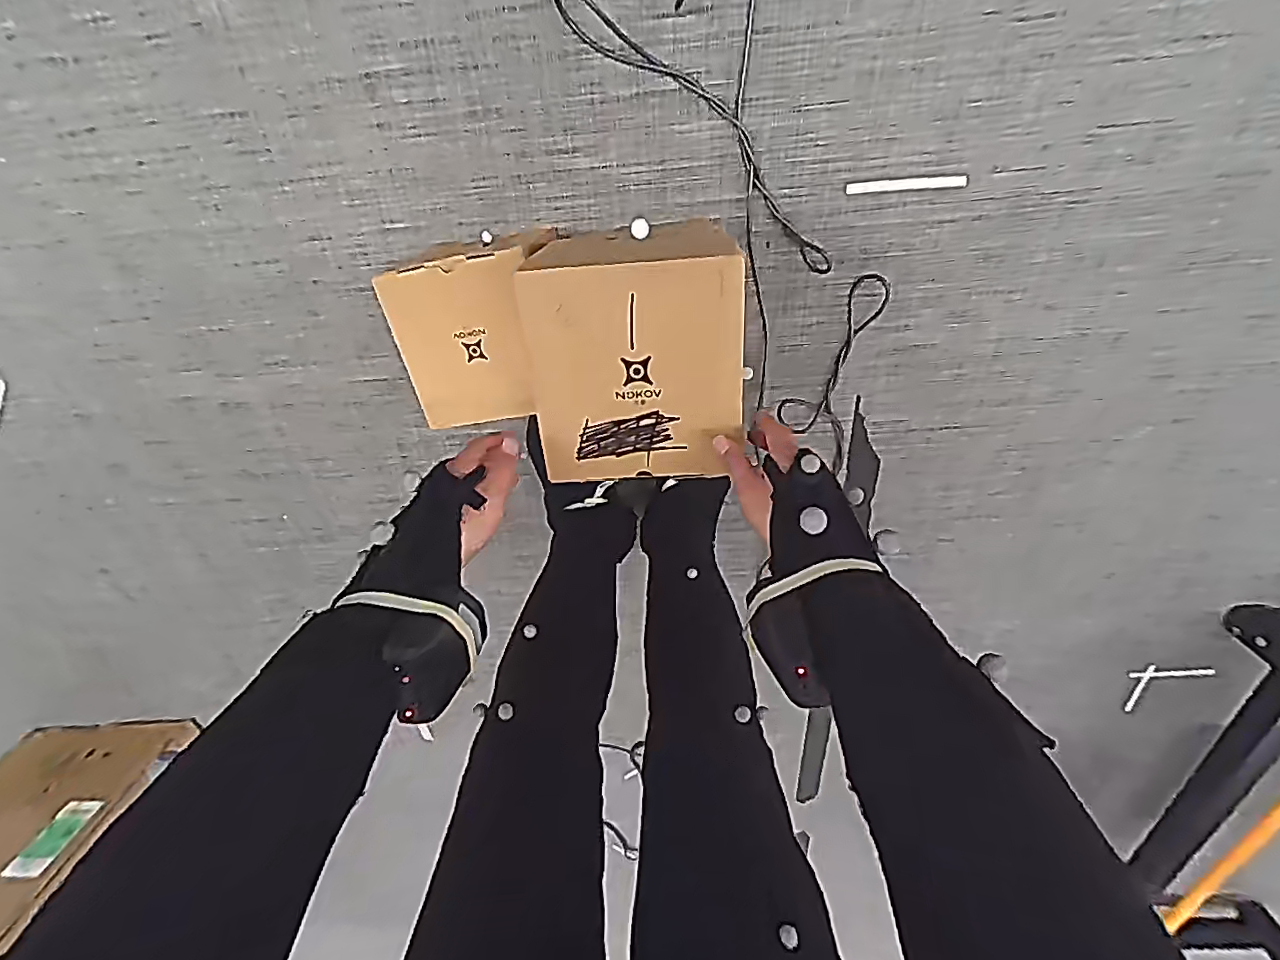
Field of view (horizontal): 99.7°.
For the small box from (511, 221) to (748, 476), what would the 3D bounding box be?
[{"bbox_3d":[0.000,-0.121,0.478,0.168,0.176,0.179,-3,120,3],"label":"small box"}]
